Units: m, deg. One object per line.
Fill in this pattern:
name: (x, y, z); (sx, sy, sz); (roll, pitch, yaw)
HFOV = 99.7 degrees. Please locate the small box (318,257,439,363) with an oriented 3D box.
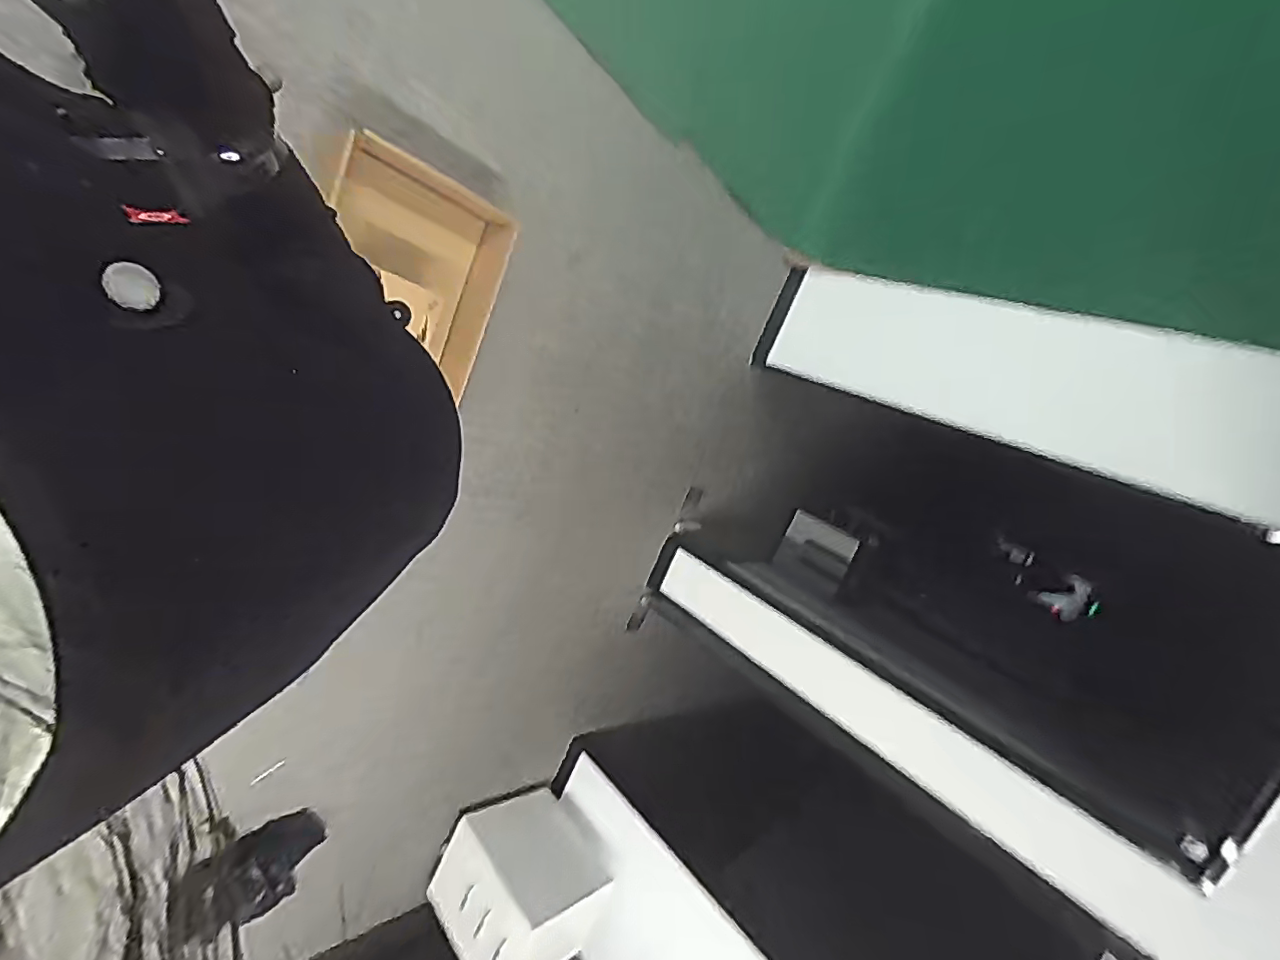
small box: (-0.599, -0.388, 1.230); (0.179, 0.176, 0.168); (15, 102, -52)
